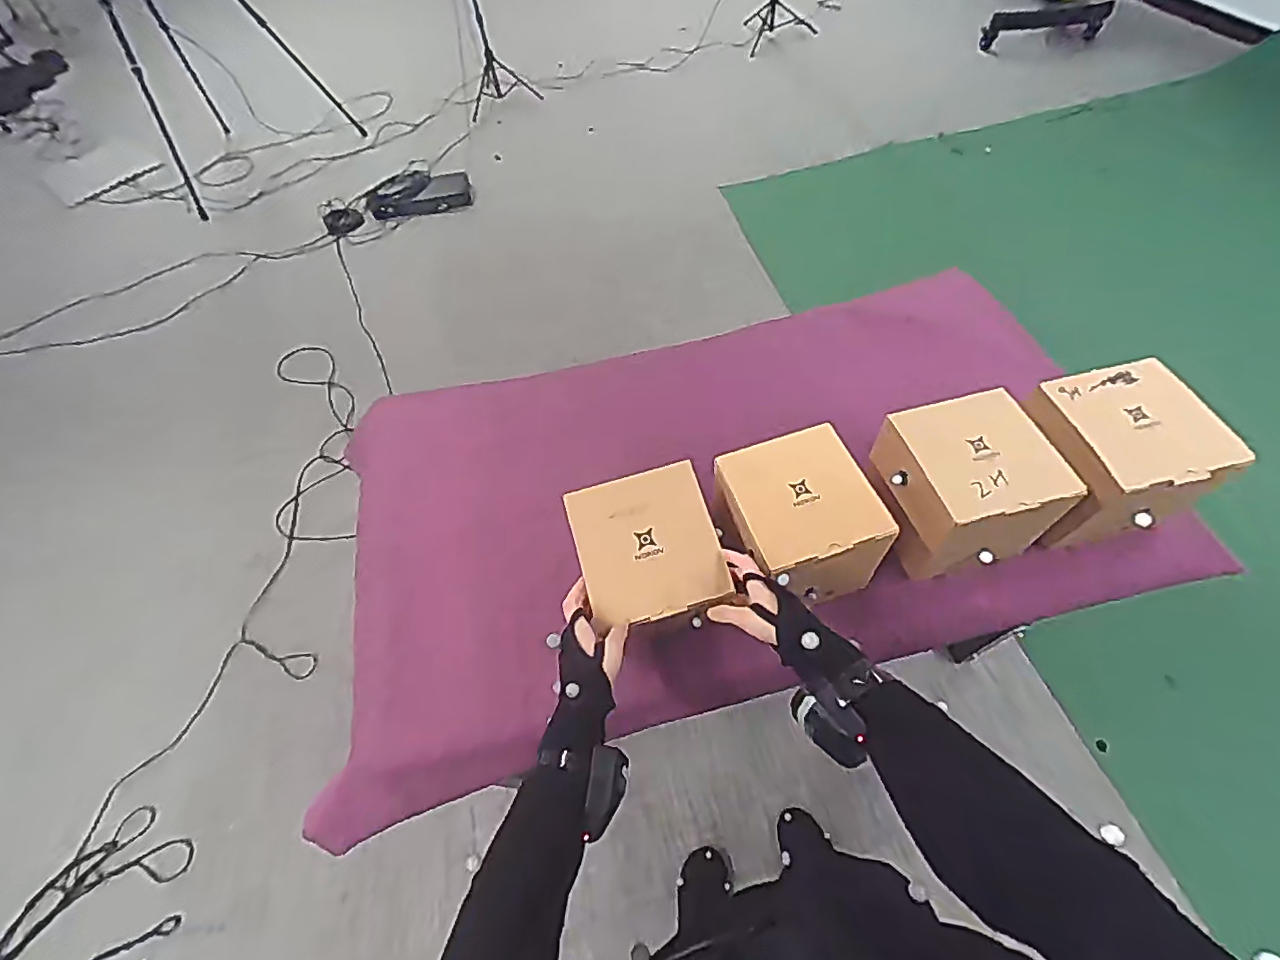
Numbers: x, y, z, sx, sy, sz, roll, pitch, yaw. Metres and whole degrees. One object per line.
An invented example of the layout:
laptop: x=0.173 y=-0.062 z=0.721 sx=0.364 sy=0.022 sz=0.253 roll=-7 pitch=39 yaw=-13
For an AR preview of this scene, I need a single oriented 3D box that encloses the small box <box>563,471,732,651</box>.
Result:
small box: x=0.009 y=0.116 z=0.704 sx=0.168 sy=0.176 sz=0.179 roll=-16 pitch=67 yaw=-4
